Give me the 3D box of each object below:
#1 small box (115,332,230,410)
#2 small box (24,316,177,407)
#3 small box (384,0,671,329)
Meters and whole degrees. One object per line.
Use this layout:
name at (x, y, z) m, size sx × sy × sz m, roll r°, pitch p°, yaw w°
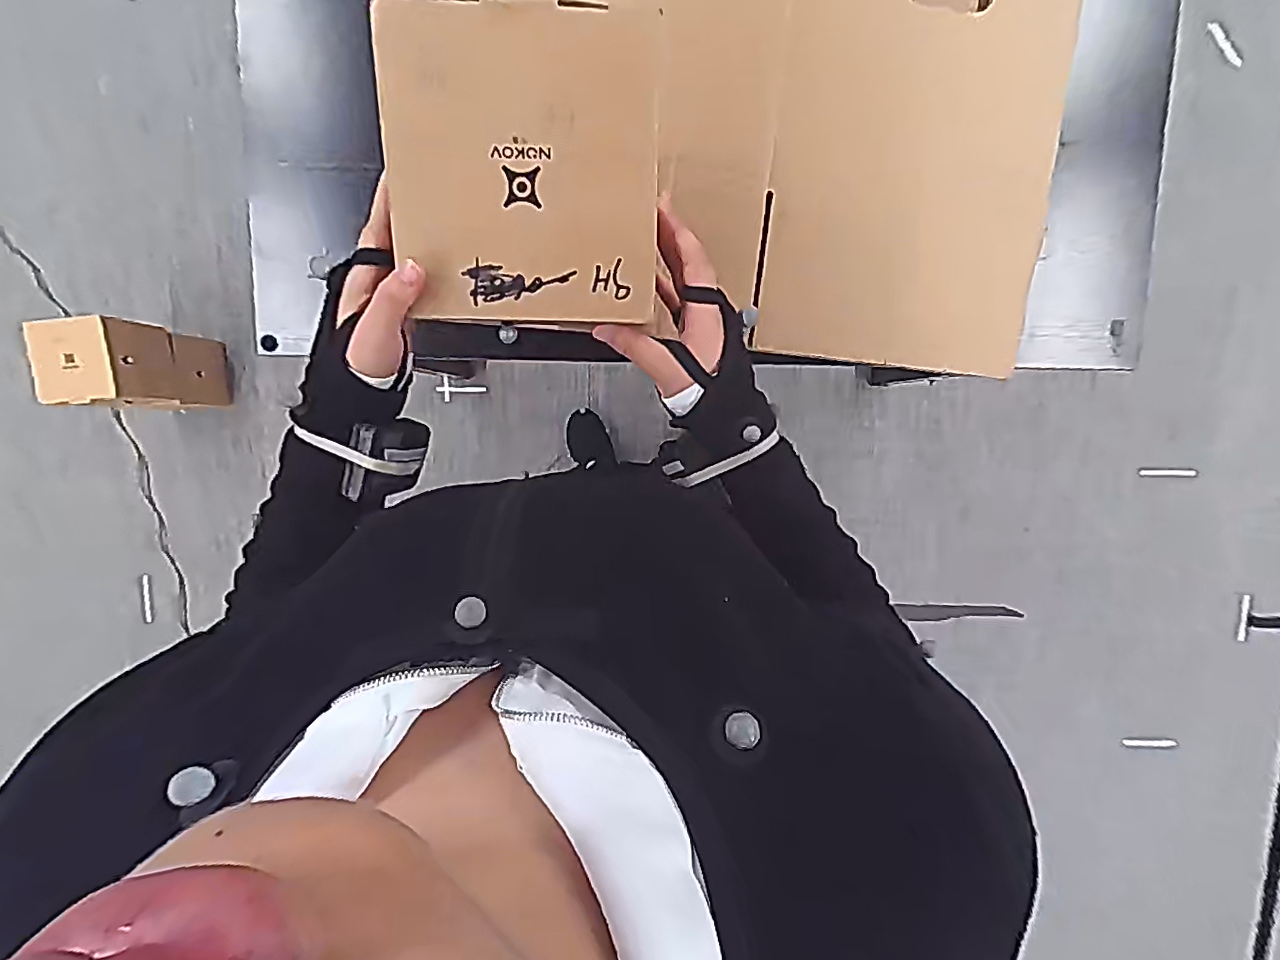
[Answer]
small box at (-1.193, -0.271, 1.376) m, size 0.168 × 0.176 × 0.179 m, roll -3°, pitch 97°, yaw 0°
small box at (-1.194, -0.259, 1.214) m, size 0.168 × 0.176 × 0.179 m, roll -6°, pitch 95°, yaw 0°
small box at (-0.069, -0.209, 0.404) m, size 0.168 × 0.176 × 0.179 m, roll 1°, pitch 105°, yaw -1°
